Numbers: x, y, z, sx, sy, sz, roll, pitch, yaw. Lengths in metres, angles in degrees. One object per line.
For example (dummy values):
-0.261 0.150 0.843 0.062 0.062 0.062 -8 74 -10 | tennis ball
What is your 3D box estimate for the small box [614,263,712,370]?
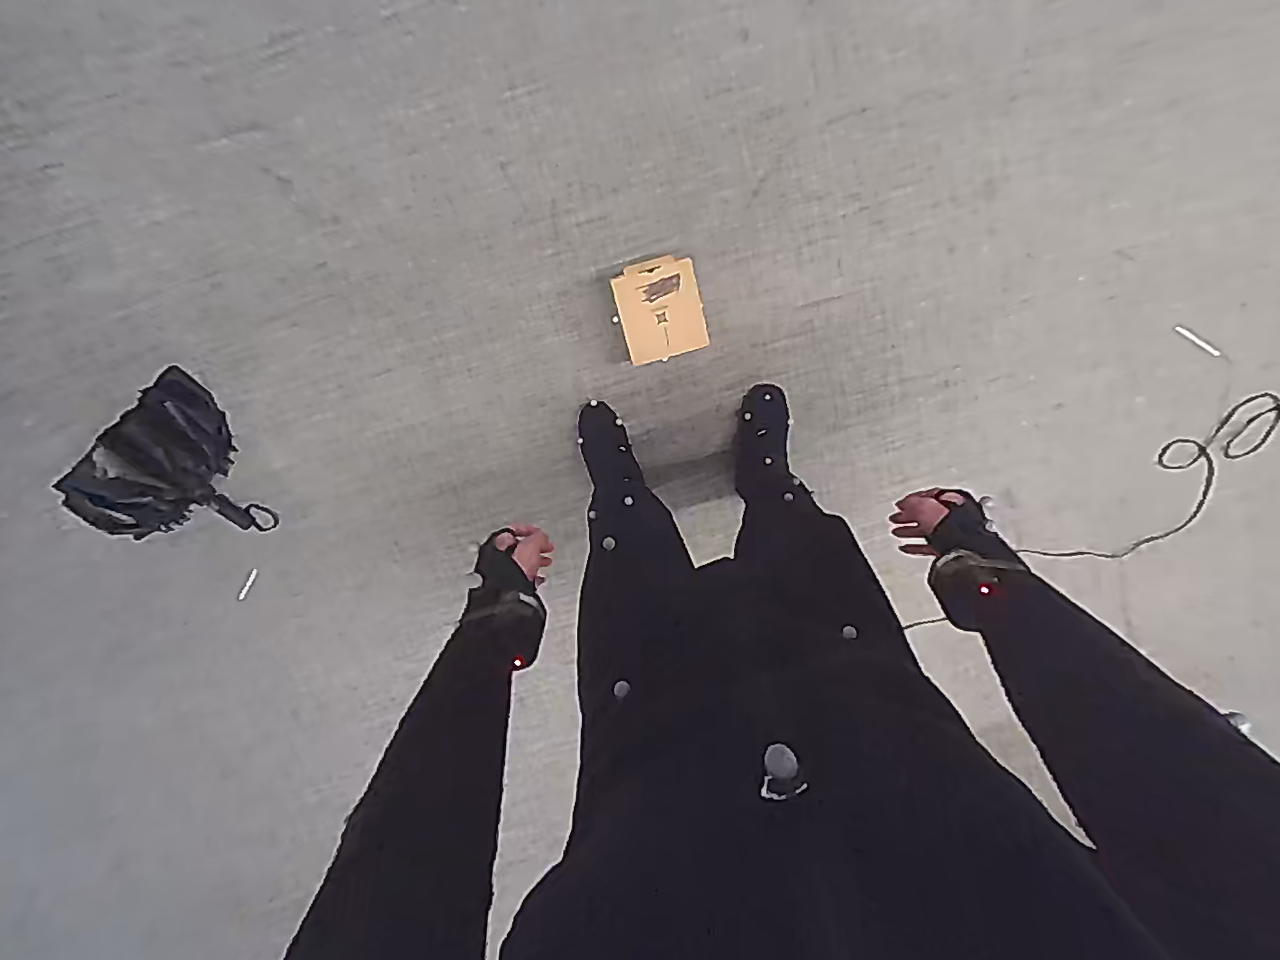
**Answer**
0.044 -0.344 1.155 0.168 0.176 0.179 -16 106 3 | small box
